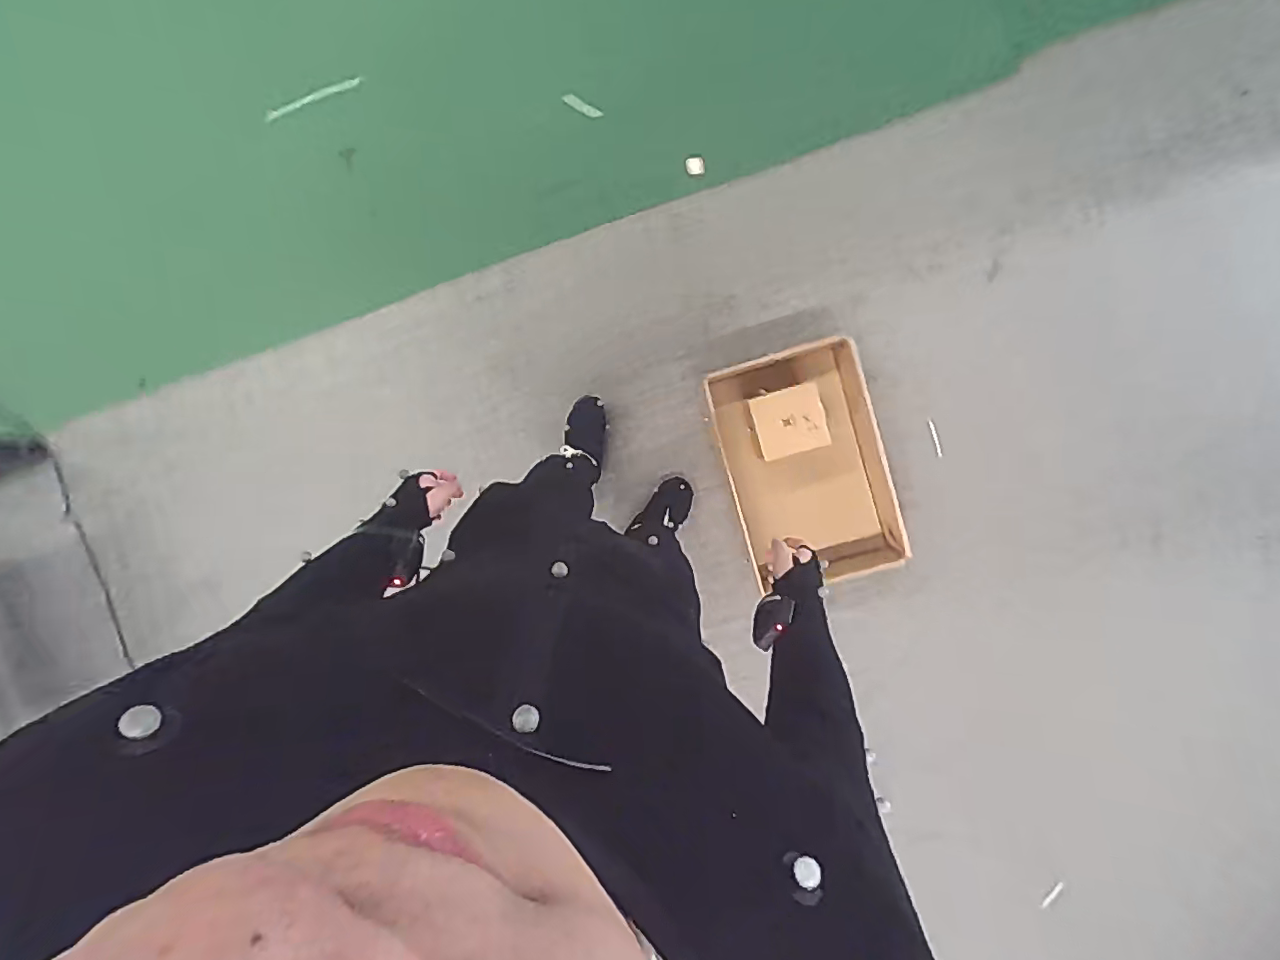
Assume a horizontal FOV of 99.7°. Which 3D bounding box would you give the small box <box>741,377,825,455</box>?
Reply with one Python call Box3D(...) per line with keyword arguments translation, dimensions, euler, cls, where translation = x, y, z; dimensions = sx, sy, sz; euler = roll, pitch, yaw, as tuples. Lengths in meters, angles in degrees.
Box3D(translation=(0.376, -0.170, 1.460), dimensions=(0.179, 0.176, 0.168), euler=(-15, 94, 5), cls="small box")
